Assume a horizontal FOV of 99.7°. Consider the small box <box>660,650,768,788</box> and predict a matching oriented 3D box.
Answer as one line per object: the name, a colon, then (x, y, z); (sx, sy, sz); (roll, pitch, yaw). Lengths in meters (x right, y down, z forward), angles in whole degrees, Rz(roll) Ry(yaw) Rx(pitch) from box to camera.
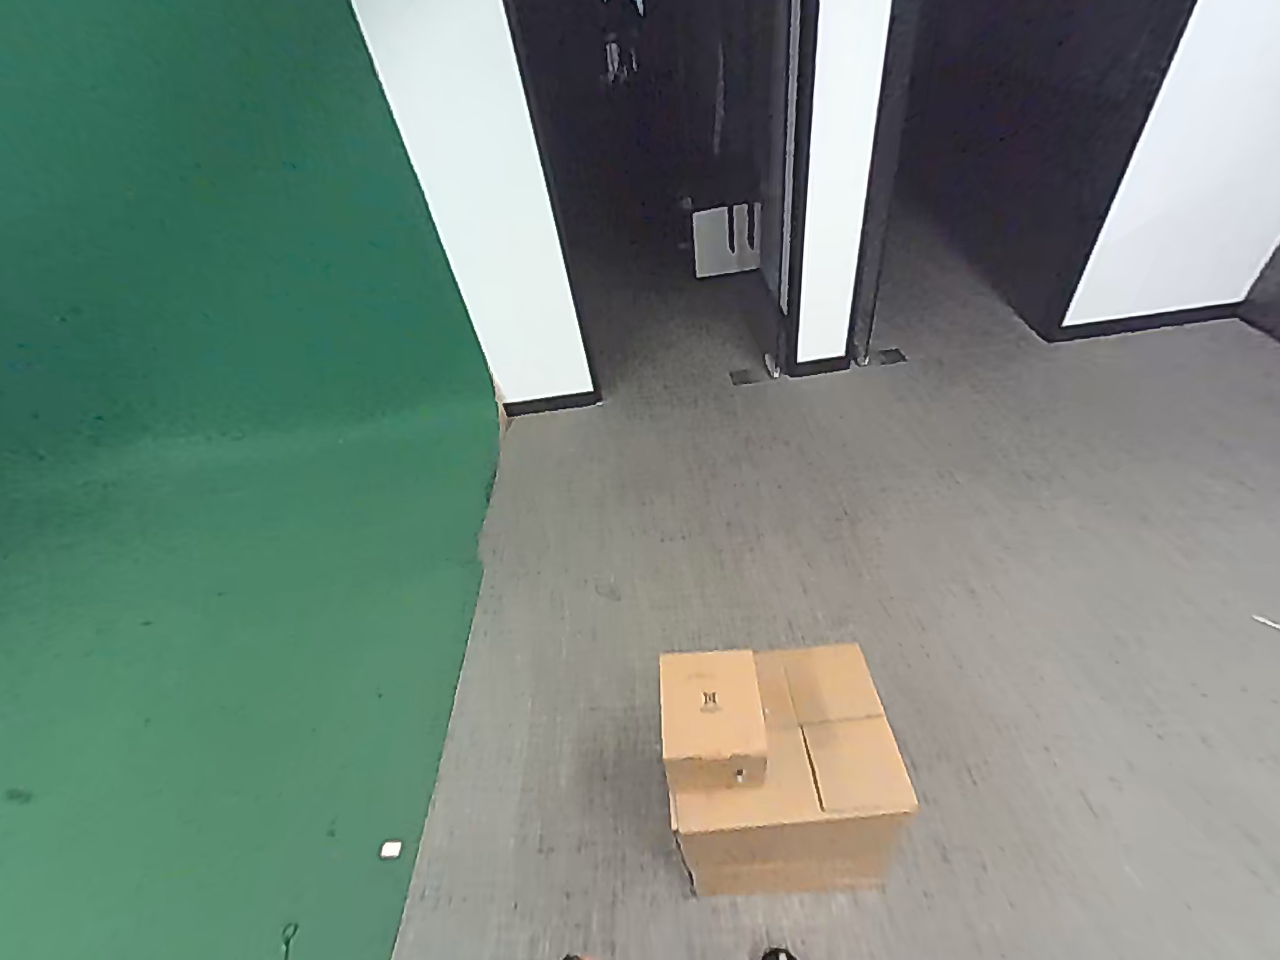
small box: (0.125, 0.420, 0.940); (0.168, 0.176, 0.179); (-5, 44, 4)
